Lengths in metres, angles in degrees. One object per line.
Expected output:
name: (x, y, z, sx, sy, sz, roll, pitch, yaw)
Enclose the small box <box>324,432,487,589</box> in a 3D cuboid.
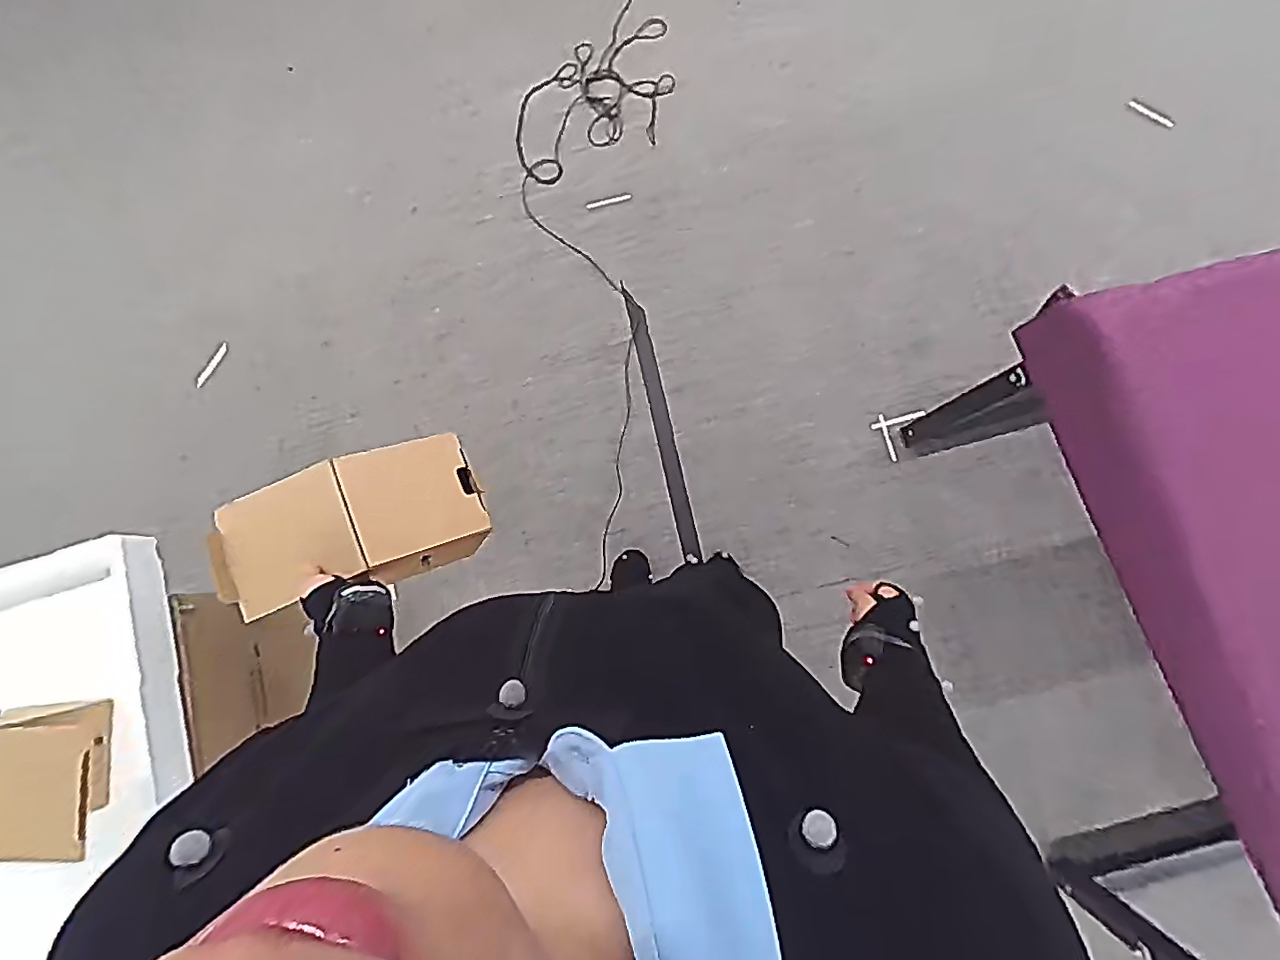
small box: (-0.355, 0.051, 0.822, 0.179, 0.176, 0.168, -19, 79, -31)
